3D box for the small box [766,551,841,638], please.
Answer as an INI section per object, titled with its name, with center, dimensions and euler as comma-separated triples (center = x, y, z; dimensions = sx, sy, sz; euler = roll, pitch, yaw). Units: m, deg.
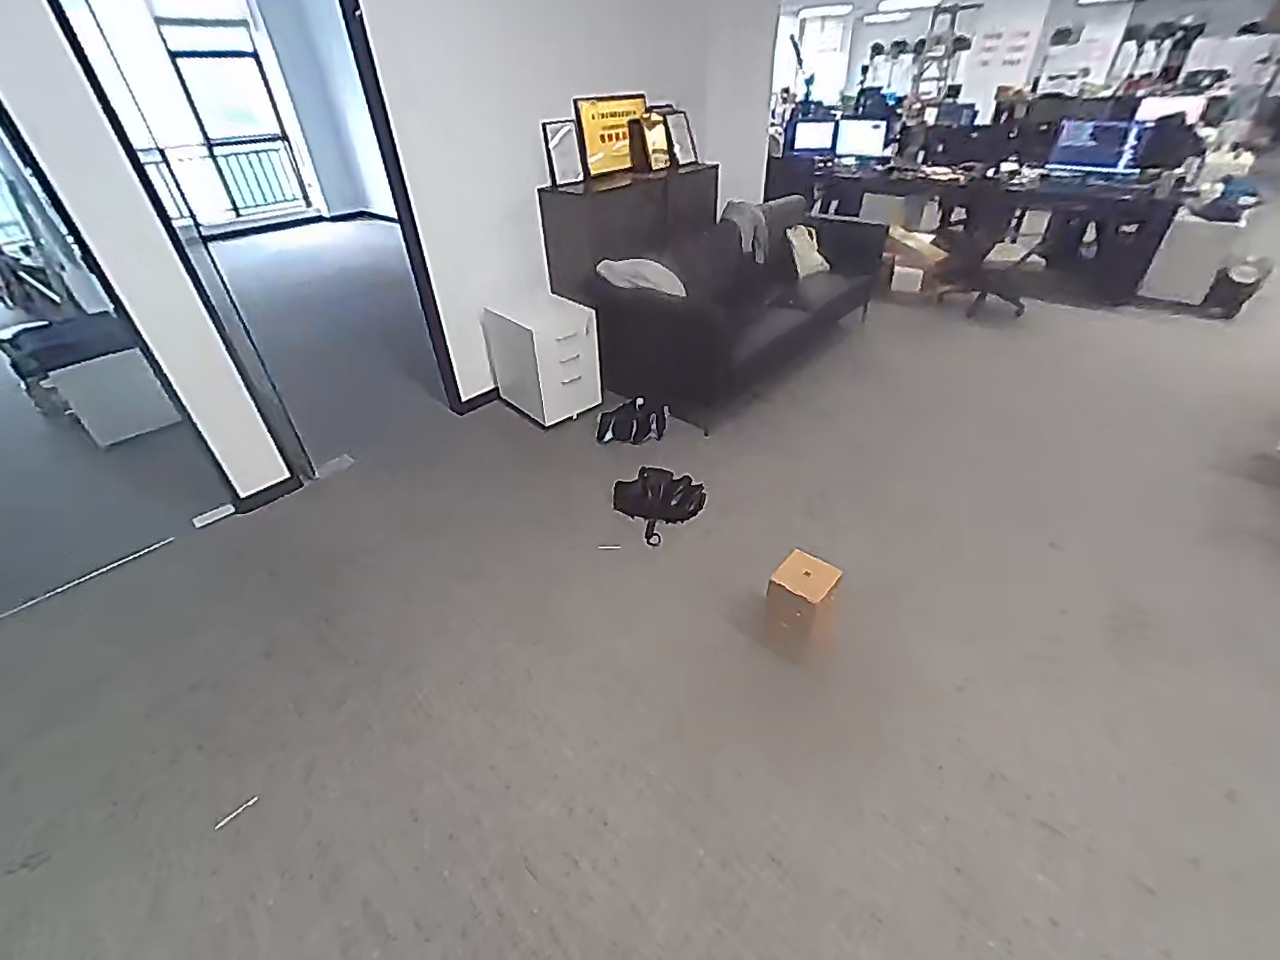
[small box]
center = 0.517, 0.367, 1.726
dimensions = 0.168, 0.176, 0.179
euler = 27, 43, 32
